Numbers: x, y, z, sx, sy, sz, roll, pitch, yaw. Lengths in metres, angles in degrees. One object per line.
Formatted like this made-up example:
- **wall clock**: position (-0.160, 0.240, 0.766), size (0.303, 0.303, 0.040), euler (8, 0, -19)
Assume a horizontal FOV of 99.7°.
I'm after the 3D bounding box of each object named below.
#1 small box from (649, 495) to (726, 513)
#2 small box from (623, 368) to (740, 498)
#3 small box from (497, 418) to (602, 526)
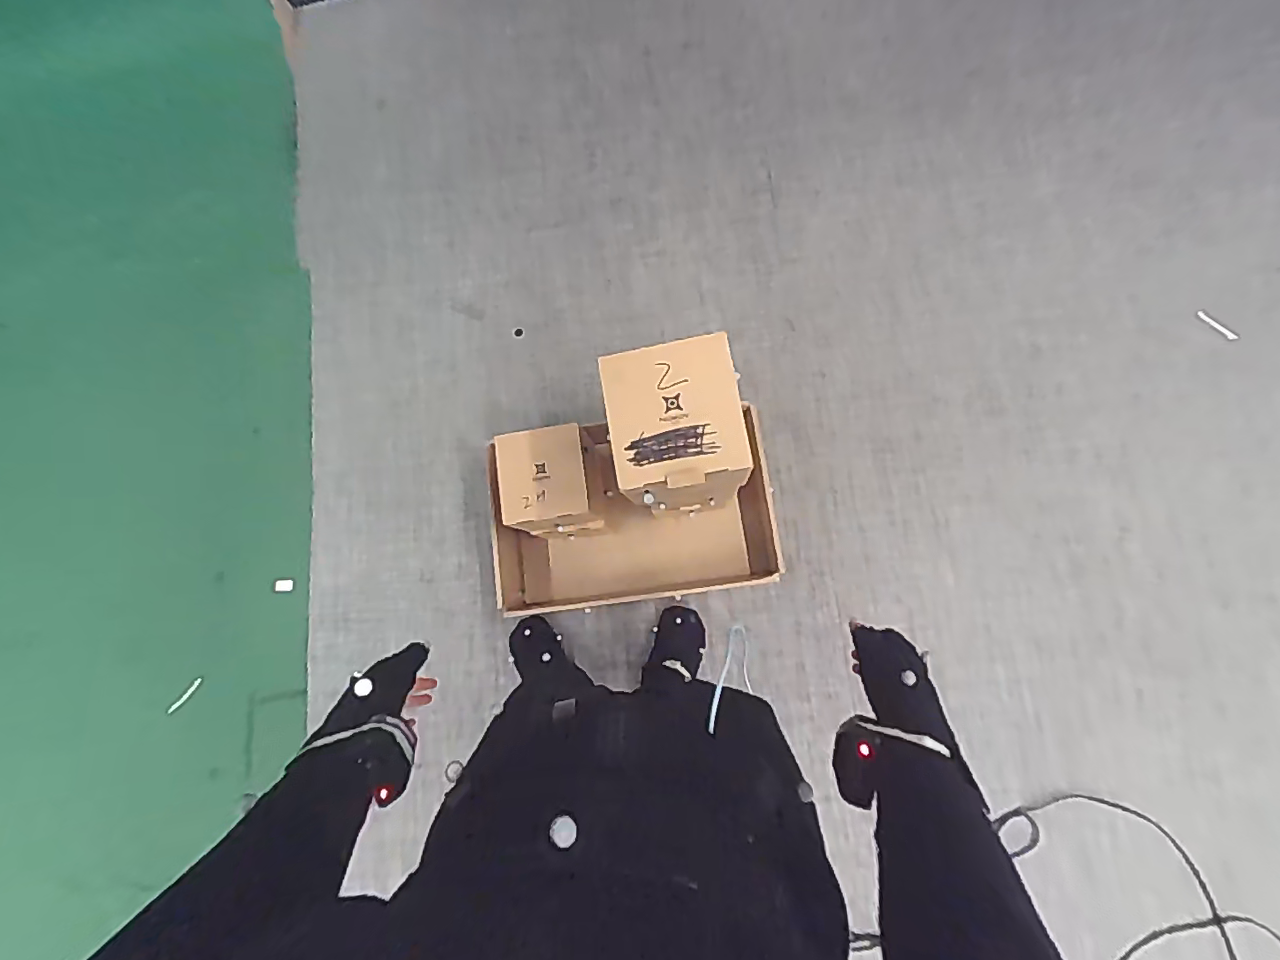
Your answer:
- **small box**: position (0.099, -0.024, 1.224), size (0.168, 0.176, 0.179), euler (-12, 80, 6)
- **small box**: position (0.072, -0.067, 0.900), size (0.168, 0.176, 0.179), euler (-7, 81, 5)
- **small box**: position (-0.175, -0.008, 1.084), size (0.168, 0.176, 0.179), euler (-9, 80, 4)
